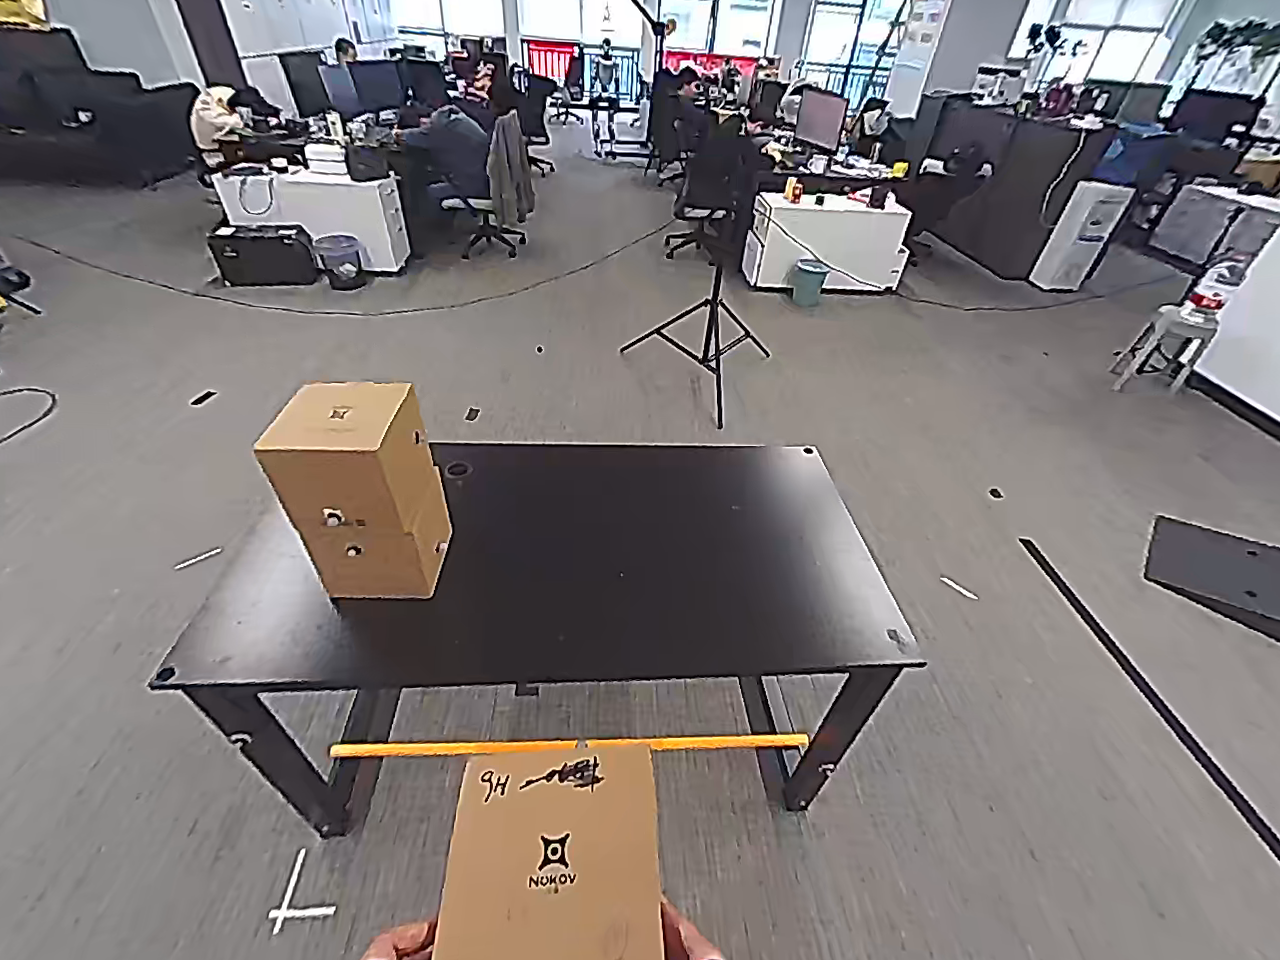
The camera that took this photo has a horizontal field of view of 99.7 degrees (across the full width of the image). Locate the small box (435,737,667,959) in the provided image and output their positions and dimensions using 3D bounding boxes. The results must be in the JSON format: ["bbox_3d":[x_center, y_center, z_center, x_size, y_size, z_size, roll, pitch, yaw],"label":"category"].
[{"bbox_3d":[-0.064,0.357,0.481,0.168,0.176,0.179,-4,42,-1],"label":"small box"}]

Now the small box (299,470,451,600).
[{"bbox_3d":[-0.447,0.096,0.946,0.179,0.176,0.168,2,40,-5],"label":"small box"}]

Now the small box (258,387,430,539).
[{"bbox_3d":[-0.439,-0.028,0.841,0.168,0.176,0.179,-1,41,-4],"label":"small box"}]
